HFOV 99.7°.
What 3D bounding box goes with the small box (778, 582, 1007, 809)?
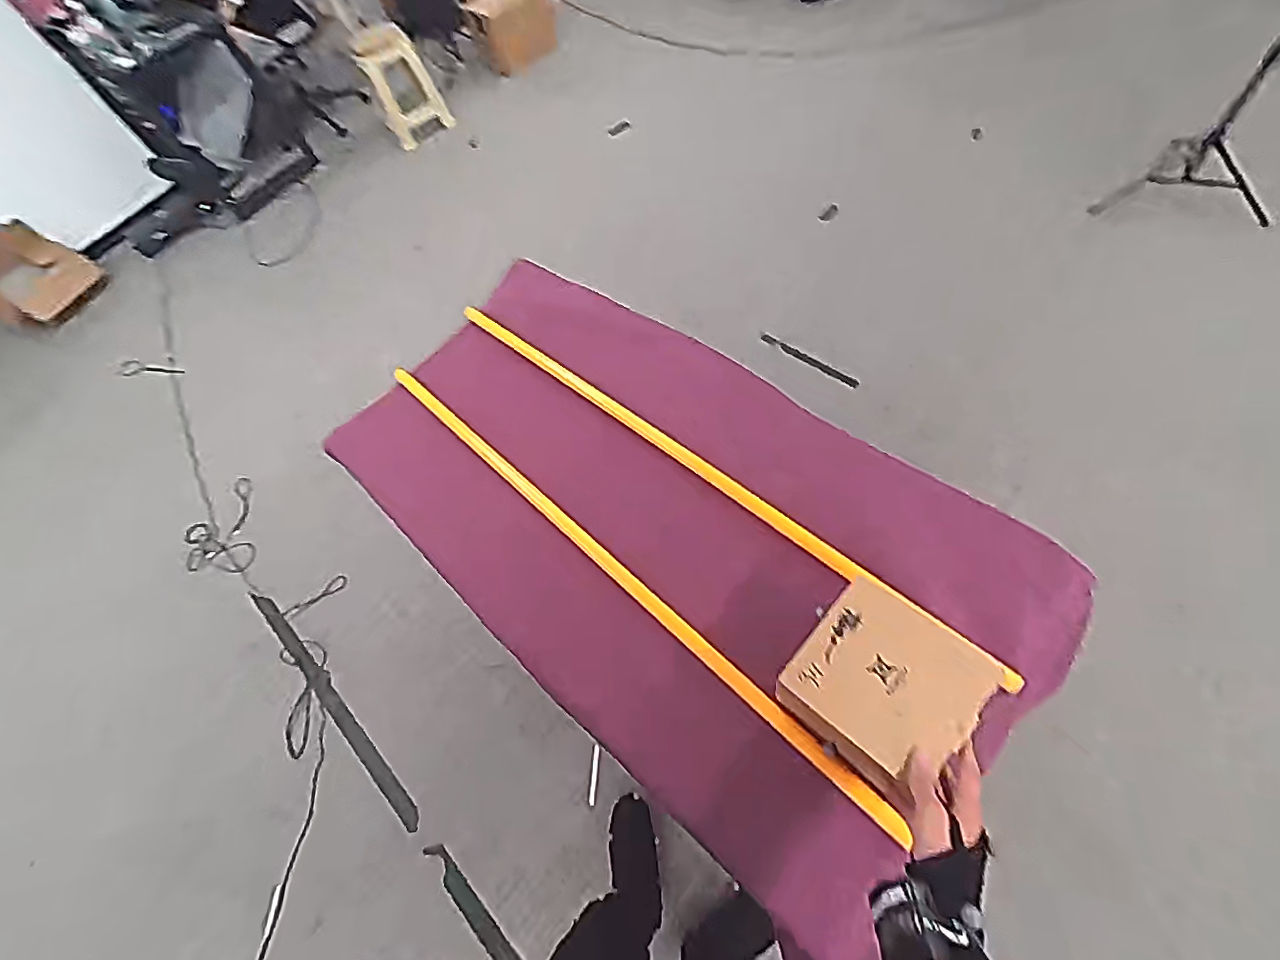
[{"bbox_3d":[0.287,0.258,0.655,0.179,0.176,0.168,37,75,28],"label":"small box"}]
